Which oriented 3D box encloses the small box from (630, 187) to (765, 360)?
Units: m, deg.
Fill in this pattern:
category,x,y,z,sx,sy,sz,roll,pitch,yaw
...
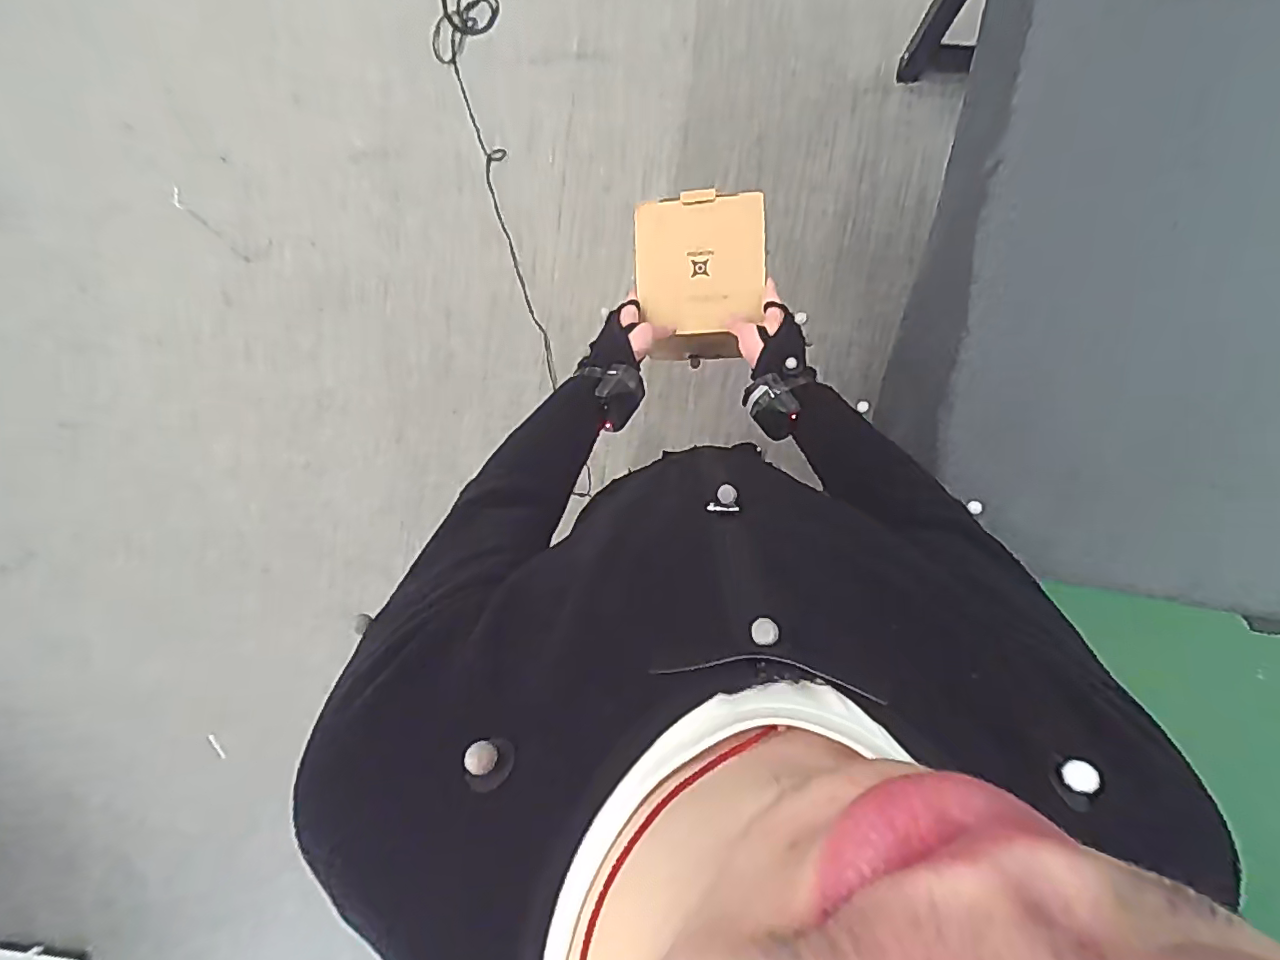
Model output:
category,x,y,z,sx,sy,sz,roll,pitch,yaw
small box,0.081,-0.272,0.749,0.168,0.176,0.179,1,91,9
